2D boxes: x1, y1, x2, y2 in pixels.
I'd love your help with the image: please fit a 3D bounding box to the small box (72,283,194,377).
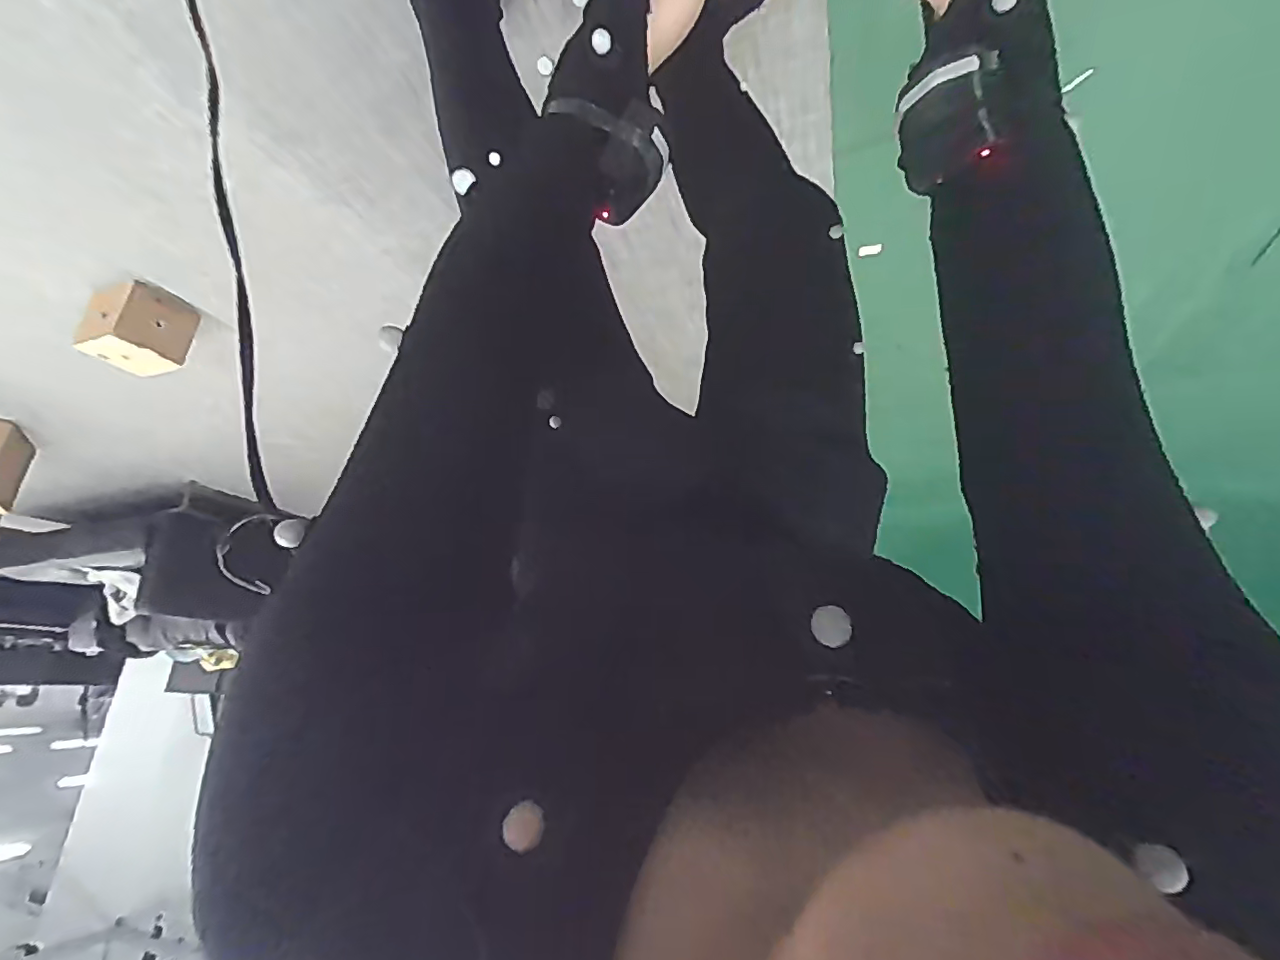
[{"bbox_3d":[-1.350,-0.403,1.455,0.179,0.176,0.168,-6,158,20],"label":"small box"}]
